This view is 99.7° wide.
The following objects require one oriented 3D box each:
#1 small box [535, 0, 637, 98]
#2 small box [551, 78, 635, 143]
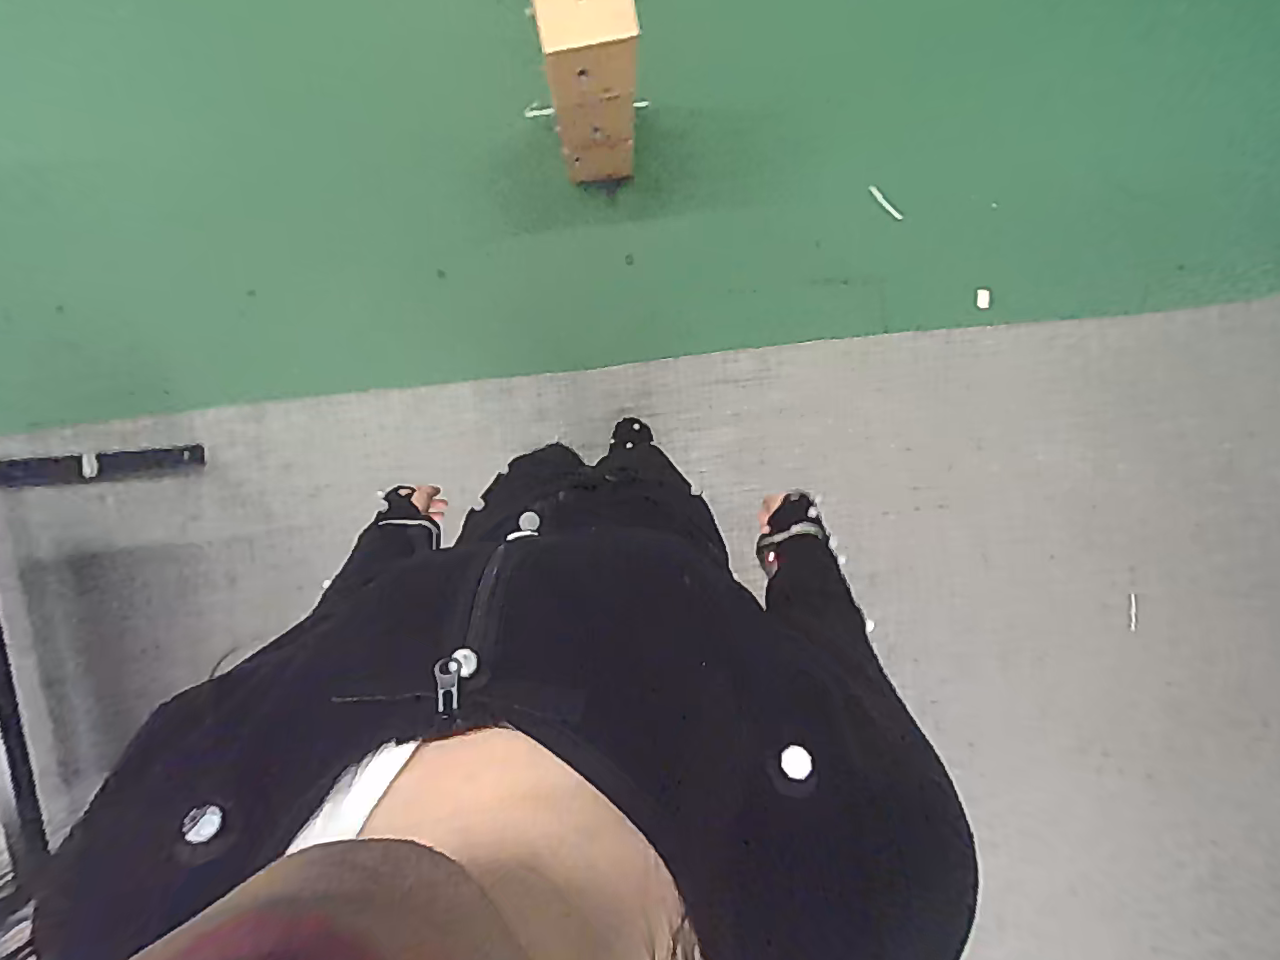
[{"bbox_3d":[-0.098,-0.835,0.986,0.168,0.176,0.179,-11,96,0],"label":"small box"},{"bbox_3d":[-0.104,-0.857,1.146,0.168,0.176,0.179,-8,97,0],"label":"small box"}]
